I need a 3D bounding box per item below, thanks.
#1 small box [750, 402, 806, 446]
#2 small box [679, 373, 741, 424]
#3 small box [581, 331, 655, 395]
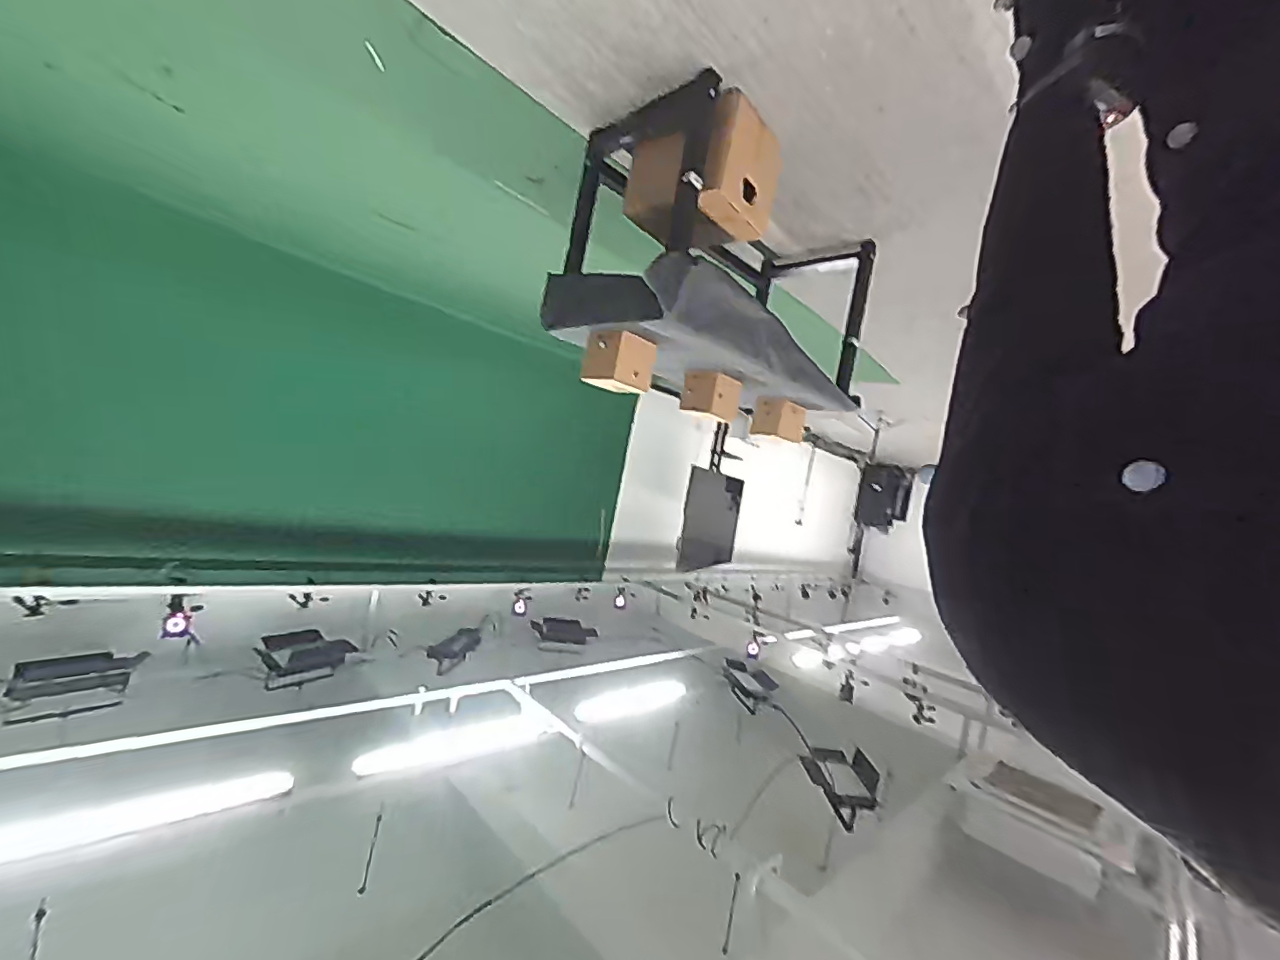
[{"bbox_3d":[0.631,-0.258,2.472,0.179,0.176,0.168,13,180,-39],"label":"small box"},{"bbox_3d":[0.284,-0.329,2.176,0.168,0.176,0.179,13,-177,43],"label":"small box"},{"bbox_3d":[-0.070,-0.394,1.826,0.168,0.176,0.179,11,180,42],"label":"small box"}]
